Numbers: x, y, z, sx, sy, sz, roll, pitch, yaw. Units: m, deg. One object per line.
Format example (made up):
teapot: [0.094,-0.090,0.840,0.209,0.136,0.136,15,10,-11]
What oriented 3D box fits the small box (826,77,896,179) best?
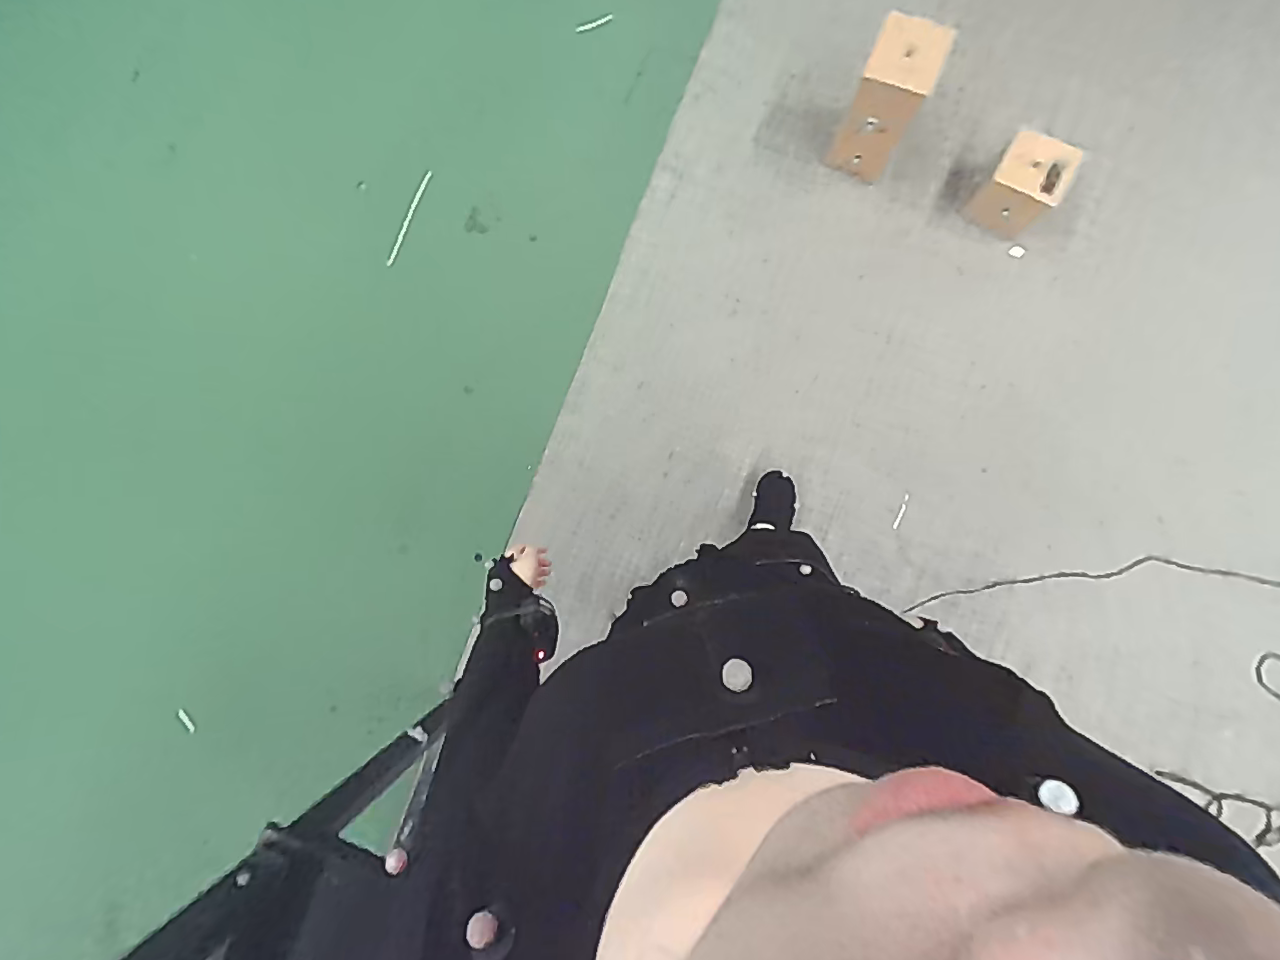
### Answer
small box: [0.634,-0.976,1.491,0.168,0.176,0.179,25,89,5]

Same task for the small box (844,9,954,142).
small box: [0.626,-0.985,1.328,0.168,0.176,0.179,22,89,6]
